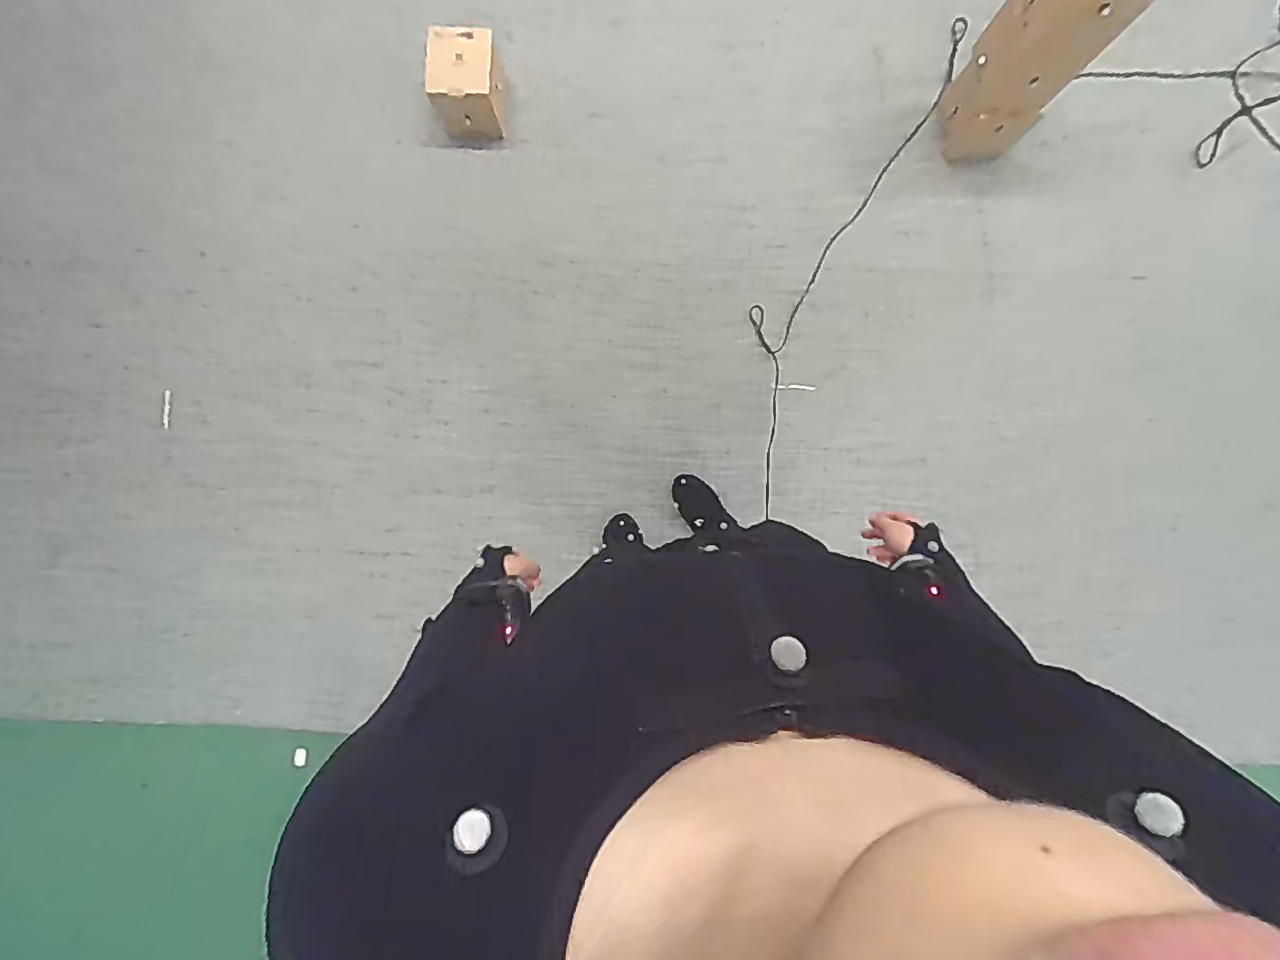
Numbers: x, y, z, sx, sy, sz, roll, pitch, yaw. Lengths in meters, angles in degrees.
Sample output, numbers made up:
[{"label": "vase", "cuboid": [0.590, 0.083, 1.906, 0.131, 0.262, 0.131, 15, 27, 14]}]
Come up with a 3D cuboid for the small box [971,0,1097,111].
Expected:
[{"label": "small box", "cuboid": [0.915, -1.005, 1.268, 0.179, 0.176, 0.168, -3, 87, 2]}]

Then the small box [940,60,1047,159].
[{"label": "small box", "cuboid": [0.922, -0.980, 1.430, 0.179, 0.176, 0.168, -6, 88, 0]}]

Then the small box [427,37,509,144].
[{"label": "small box", "cuboid": [-0.458, -1.044, 1.461, 0.168, 0.176, 0.179, 3, 88, 1]}]

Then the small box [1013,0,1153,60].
[{"label": "small box", "cuboid": [0.907, -1.005, 1.105, 0.179, 0.176, 0.168, -4, 87, 2]}]
